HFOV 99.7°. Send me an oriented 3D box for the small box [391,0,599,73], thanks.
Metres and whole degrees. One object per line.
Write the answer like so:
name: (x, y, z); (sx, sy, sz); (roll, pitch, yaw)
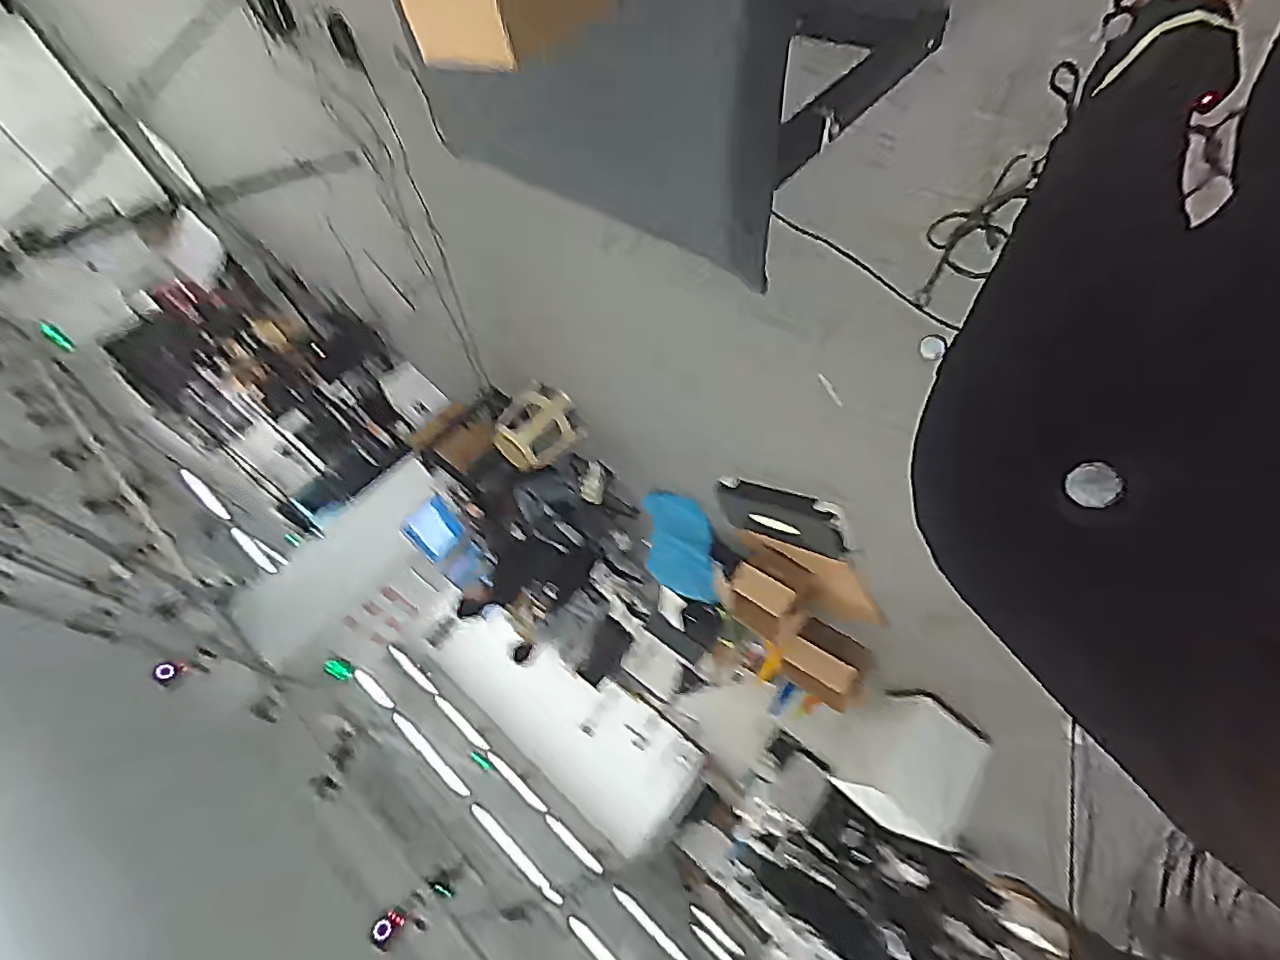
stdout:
small box: (-0.161, -0.558, 0.569); (0.179, 0.176, 0.168); (30, 153, 32)
